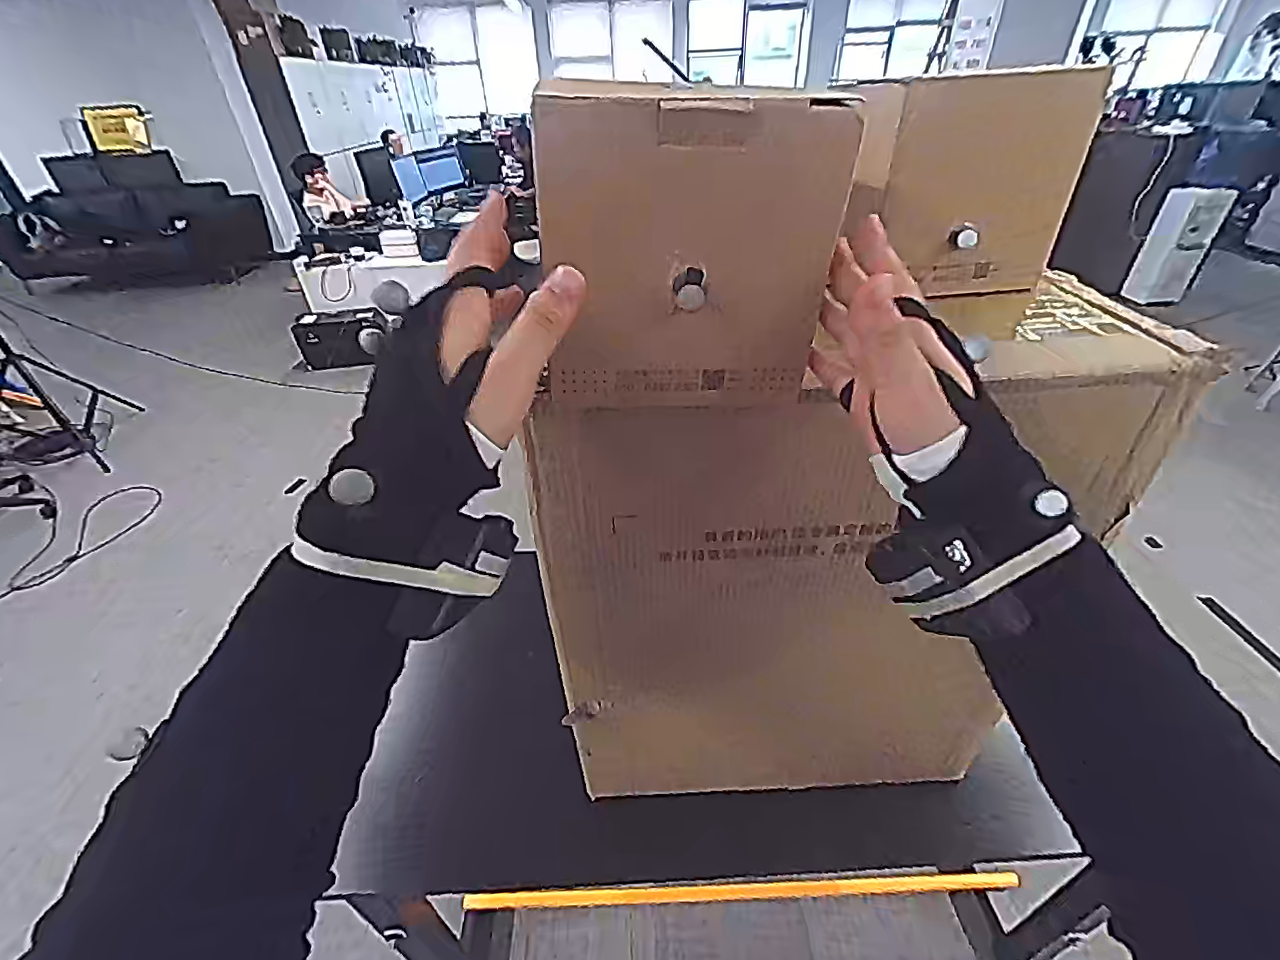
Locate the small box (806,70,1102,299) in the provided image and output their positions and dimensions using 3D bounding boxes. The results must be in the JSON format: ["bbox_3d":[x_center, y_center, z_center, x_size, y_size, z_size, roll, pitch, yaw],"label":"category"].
[{"bbox_3d":[0.272,-0.285,0.525,0.168,0.176,0.179,-5,36,-1],"label":"small box"}]

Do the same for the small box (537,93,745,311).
[{"bbox_3d":[-0.001,-0.275,0.532,0.168,0.176,0.179,-4,36,-2],"label":"small box"}]
